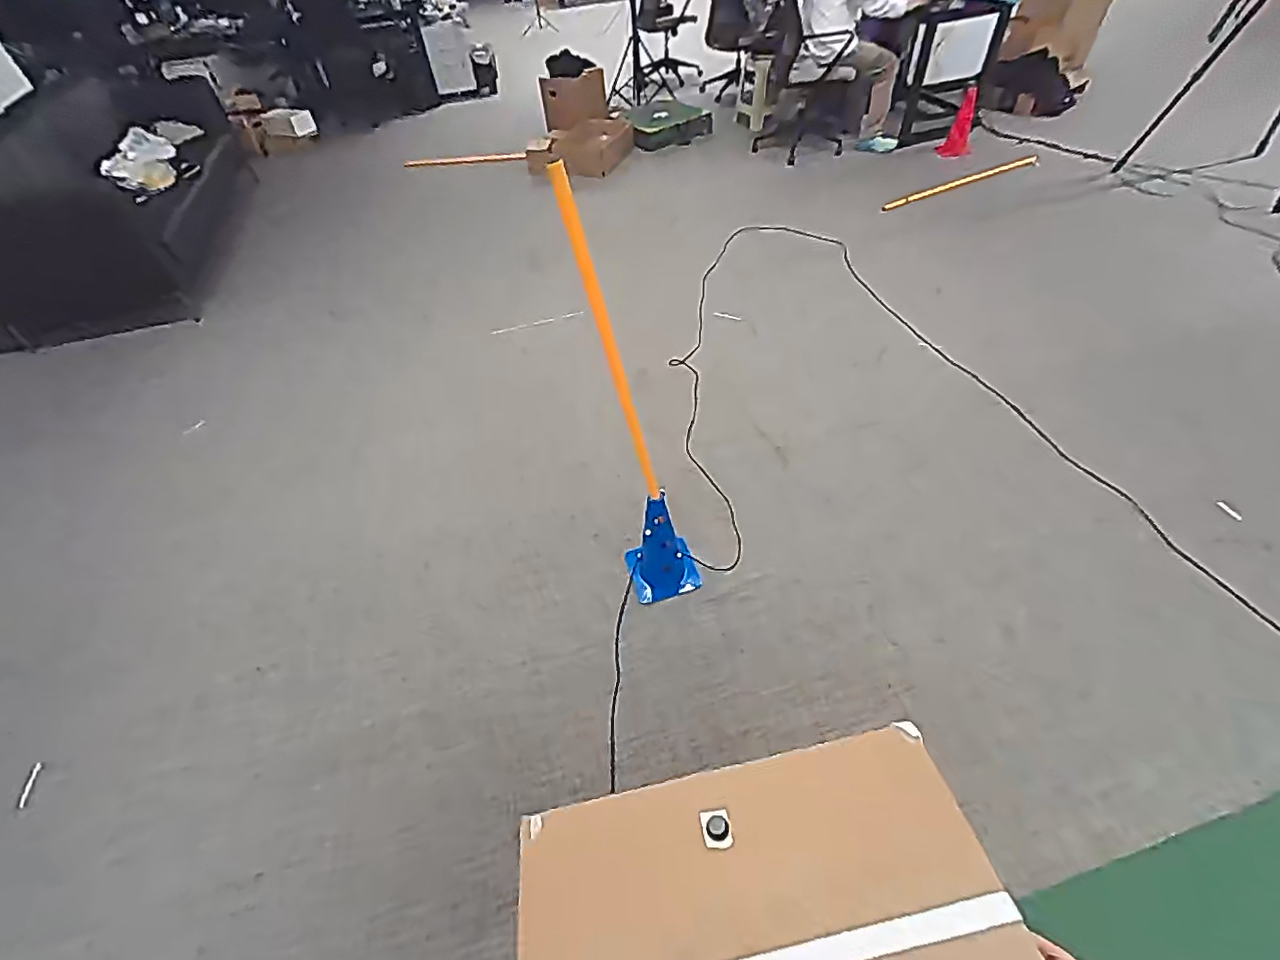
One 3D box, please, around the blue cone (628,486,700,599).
[{"bbox_3d":[0.055,0.158,1.529,0.193,0.380,0.192,-18,49,-8],"label":"blue cone"}]
